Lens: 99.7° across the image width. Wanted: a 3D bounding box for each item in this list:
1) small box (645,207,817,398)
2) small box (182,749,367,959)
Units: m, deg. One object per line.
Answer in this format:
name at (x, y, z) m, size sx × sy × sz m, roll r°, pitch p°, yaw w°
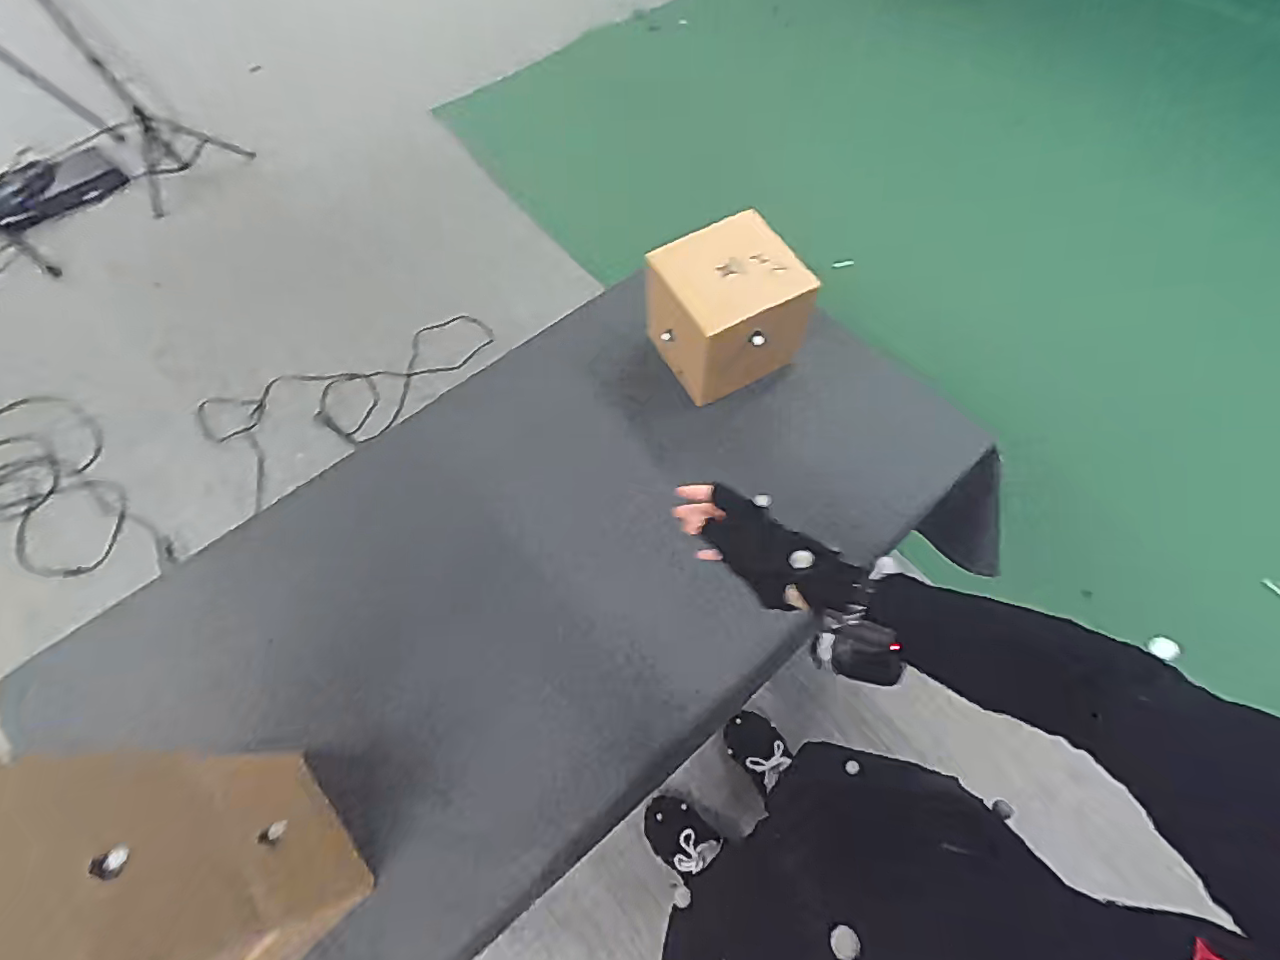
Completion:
small box at (0.122, -0.249, 0.788) m, size 0.179 × 0.176 × 0.168 m, roll -26°, pitch 68°, yaw -10°
small box at (-0.405, 0.387, 0.514) m, size 0.168 × 0.176 × 0.179 m, roll -40°, pitch 70°, yaw -16°
